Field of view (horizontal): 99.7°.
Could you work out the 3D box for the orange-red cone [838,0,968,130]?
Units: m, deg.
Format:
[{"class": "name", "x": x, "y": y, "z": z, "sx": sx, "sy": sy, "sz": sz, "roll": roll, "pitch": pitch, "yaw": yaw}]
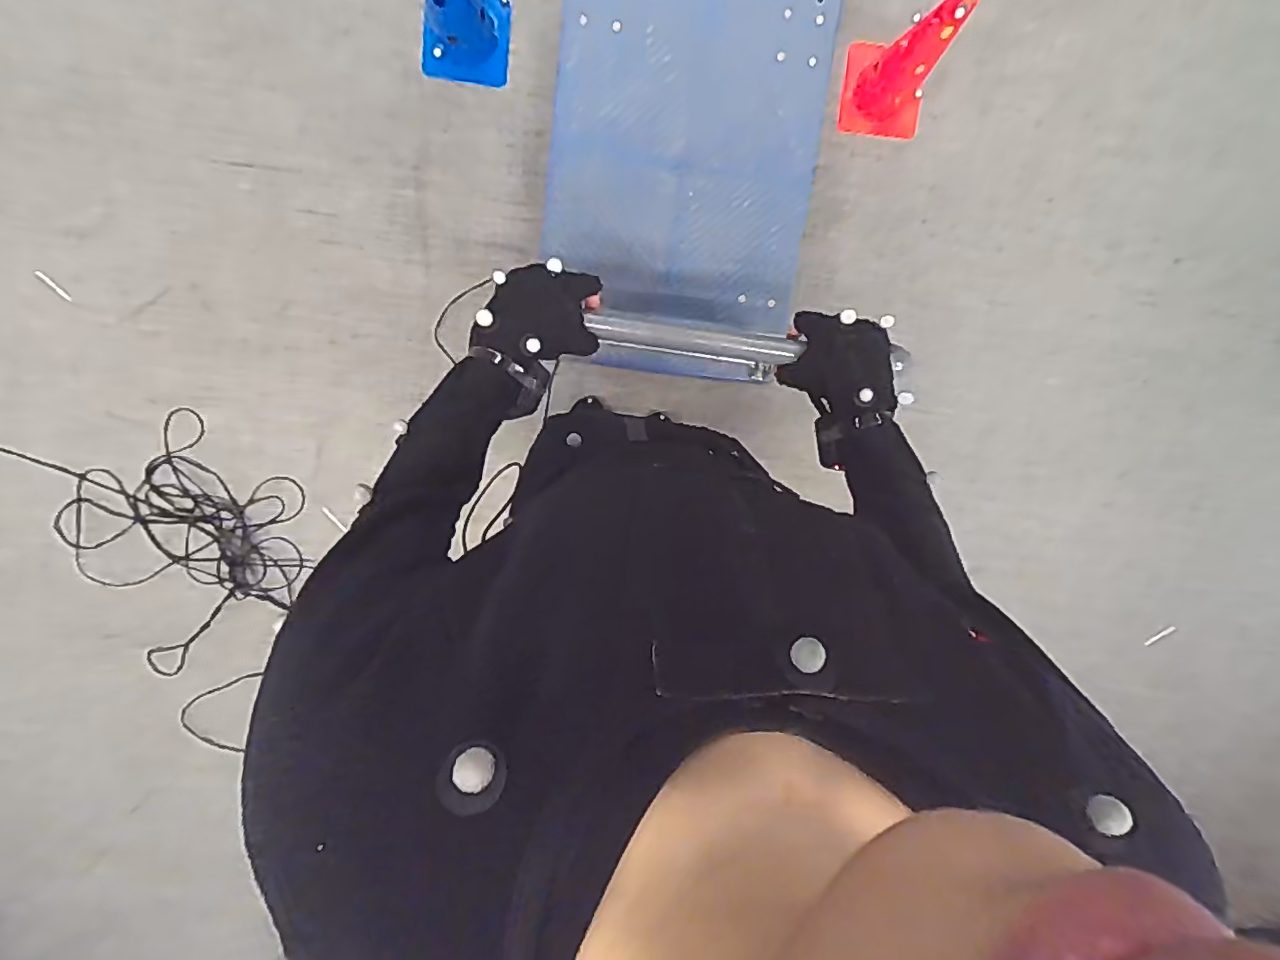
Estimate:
[{"class": "orange-red cone", "x": 0.598, "y": -0.946, "z": 1.159, "sx": 0.199, "sy": 0.360, "sz": 0.198, "roll": 6, "pitch": 100, "yaw": -2}]
